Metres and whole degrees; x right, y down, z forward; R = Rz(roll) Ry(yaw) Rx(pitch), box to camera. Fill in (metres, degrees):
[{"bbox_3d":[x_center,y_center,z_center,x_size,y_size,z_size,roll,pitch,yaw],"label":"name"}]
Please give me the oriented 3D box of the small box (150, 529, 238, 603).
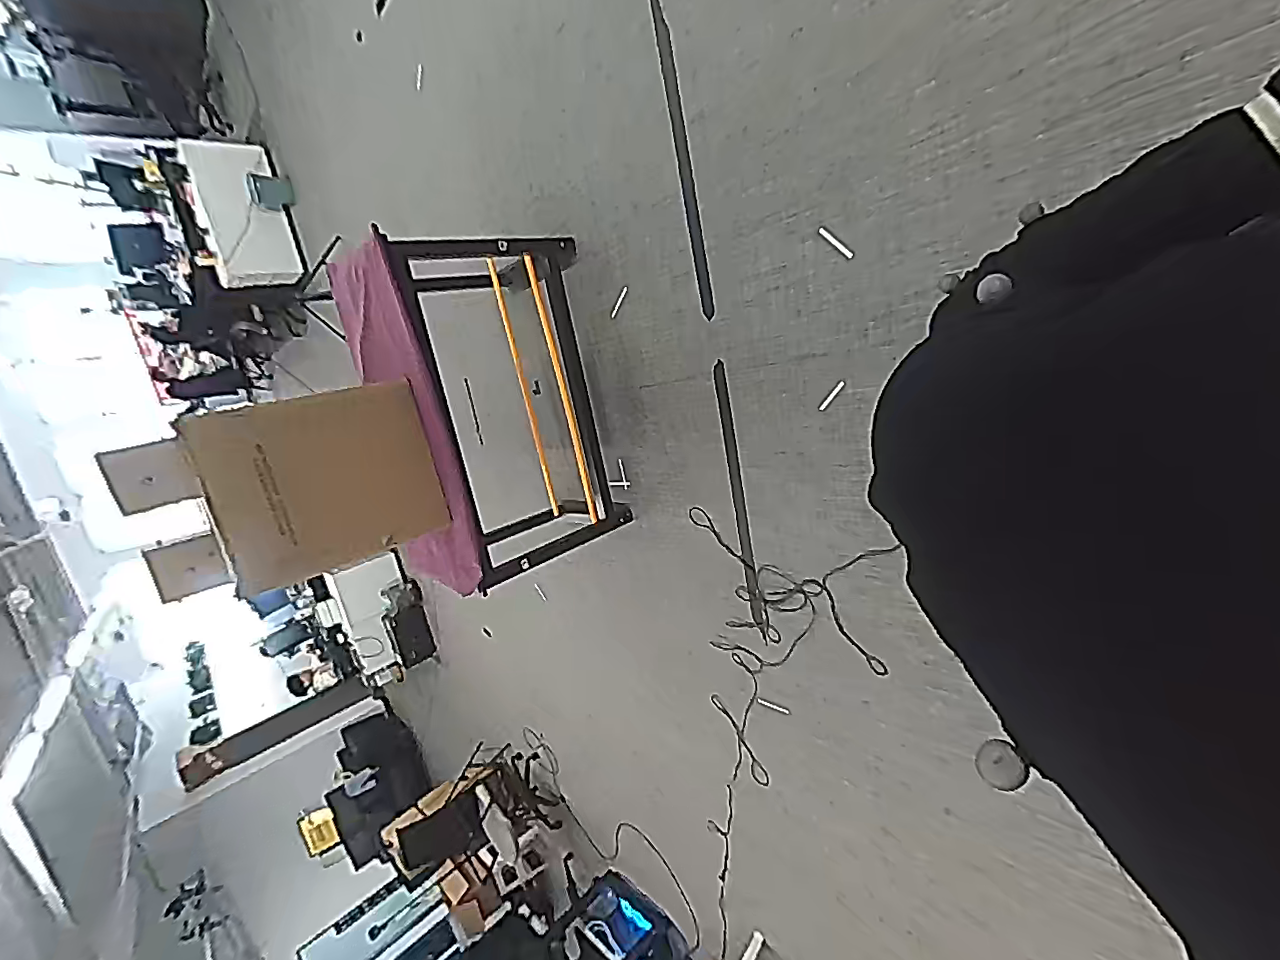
[{"bbox_3d":[-1.351,0.254,1.642,0.179,0.176,0.168,0,105,49],"label":"small box"}]
